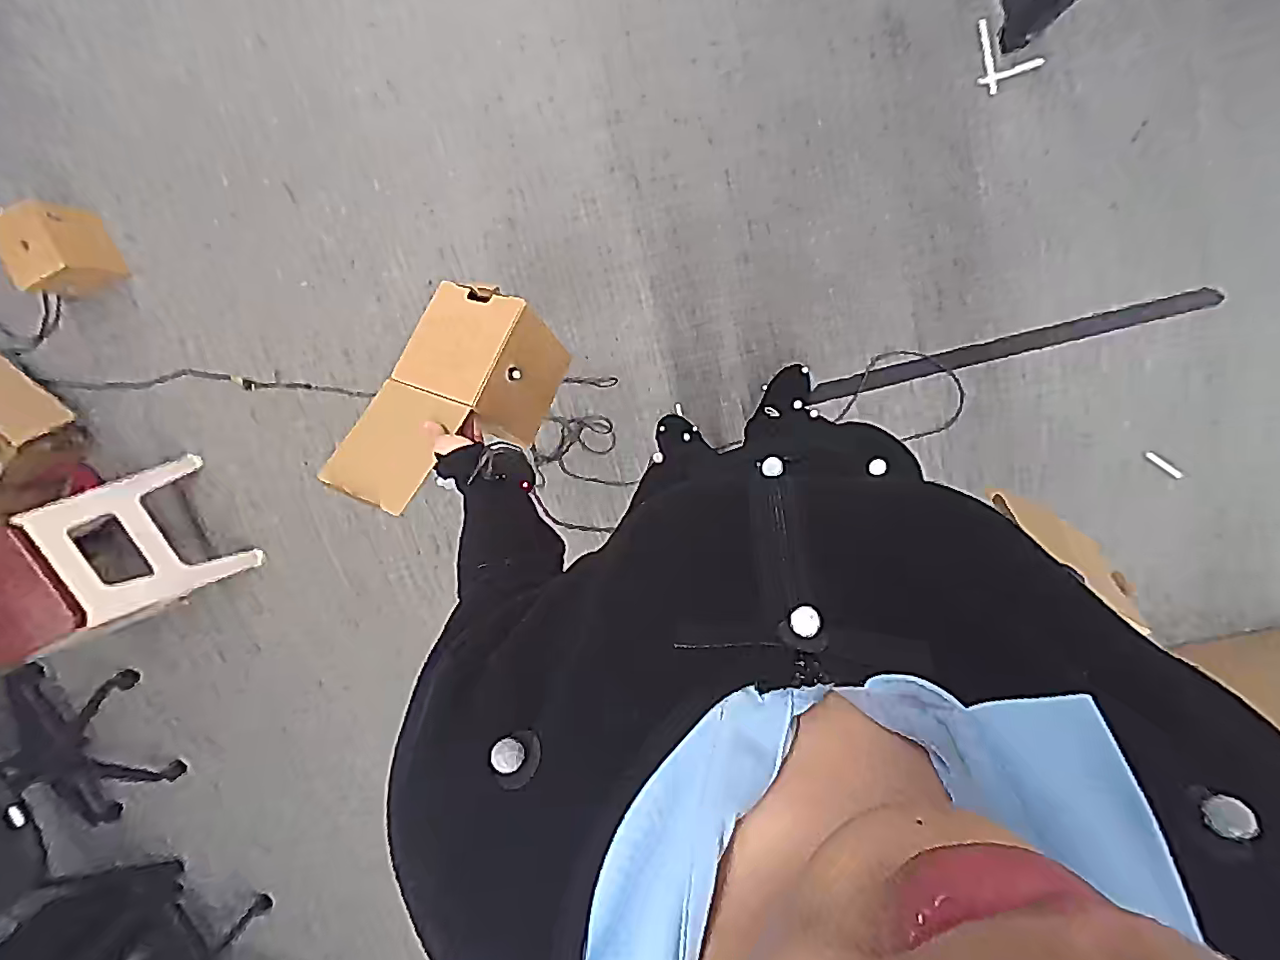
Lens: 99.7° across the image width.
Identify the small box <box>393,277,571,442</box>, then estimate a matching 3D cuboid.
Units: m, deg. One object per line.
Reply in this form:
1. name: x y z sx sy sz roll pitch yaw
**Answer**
1. small box: -0.232 -0.180 0.840 0.168 0.176 0.179 20 79 23
